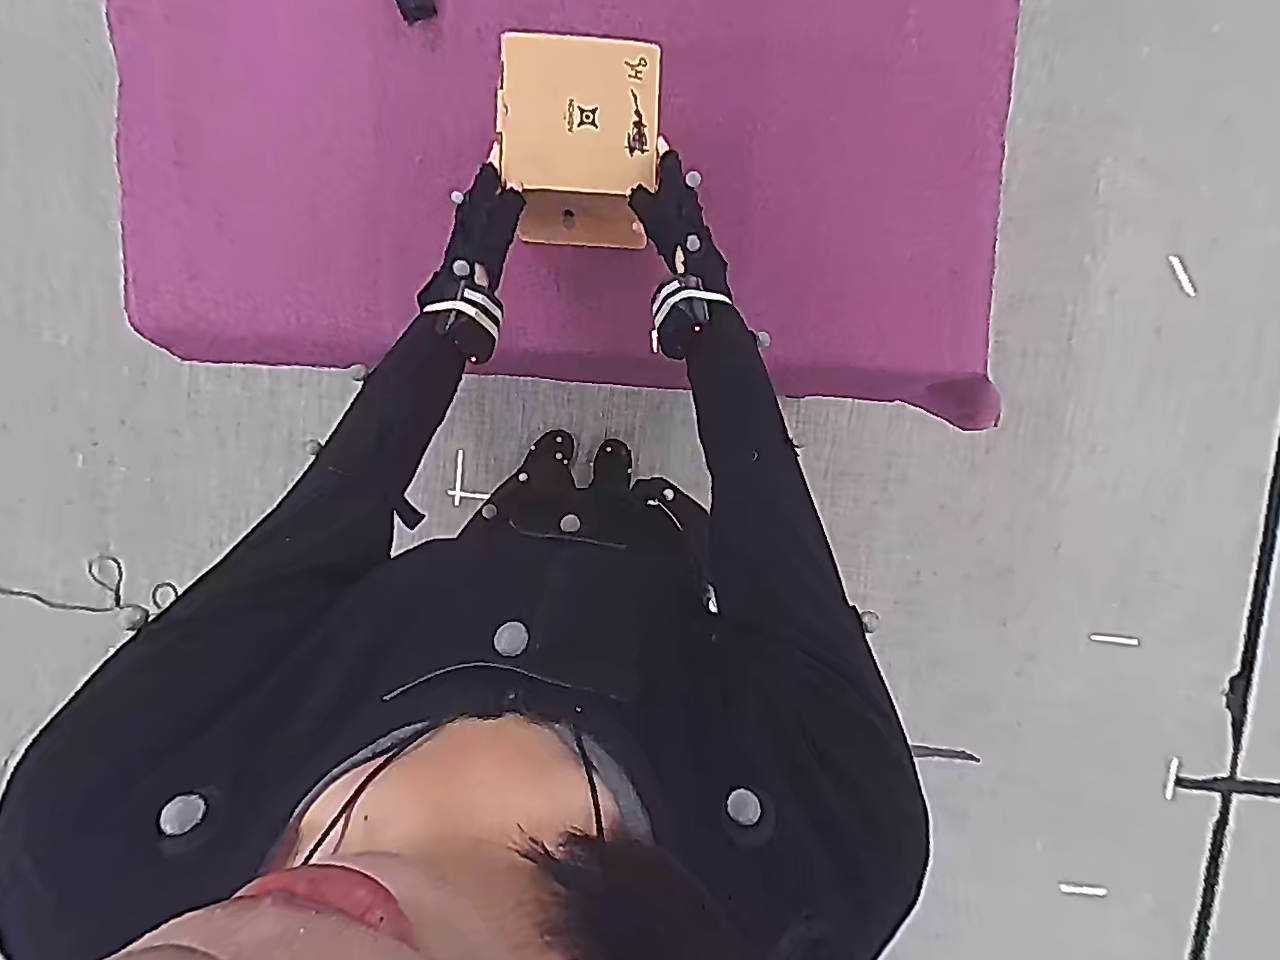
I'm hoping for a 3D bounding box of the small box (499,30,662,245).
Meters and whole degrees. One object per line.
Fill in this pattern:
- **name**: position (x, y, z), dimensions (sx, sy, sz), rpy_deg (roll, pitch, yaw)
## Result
- **small box**: position (-0.068, -0.409, 0.674), dimensions (0.179, 0.176, 0.168), rpy_deg (2, 93, -3)
